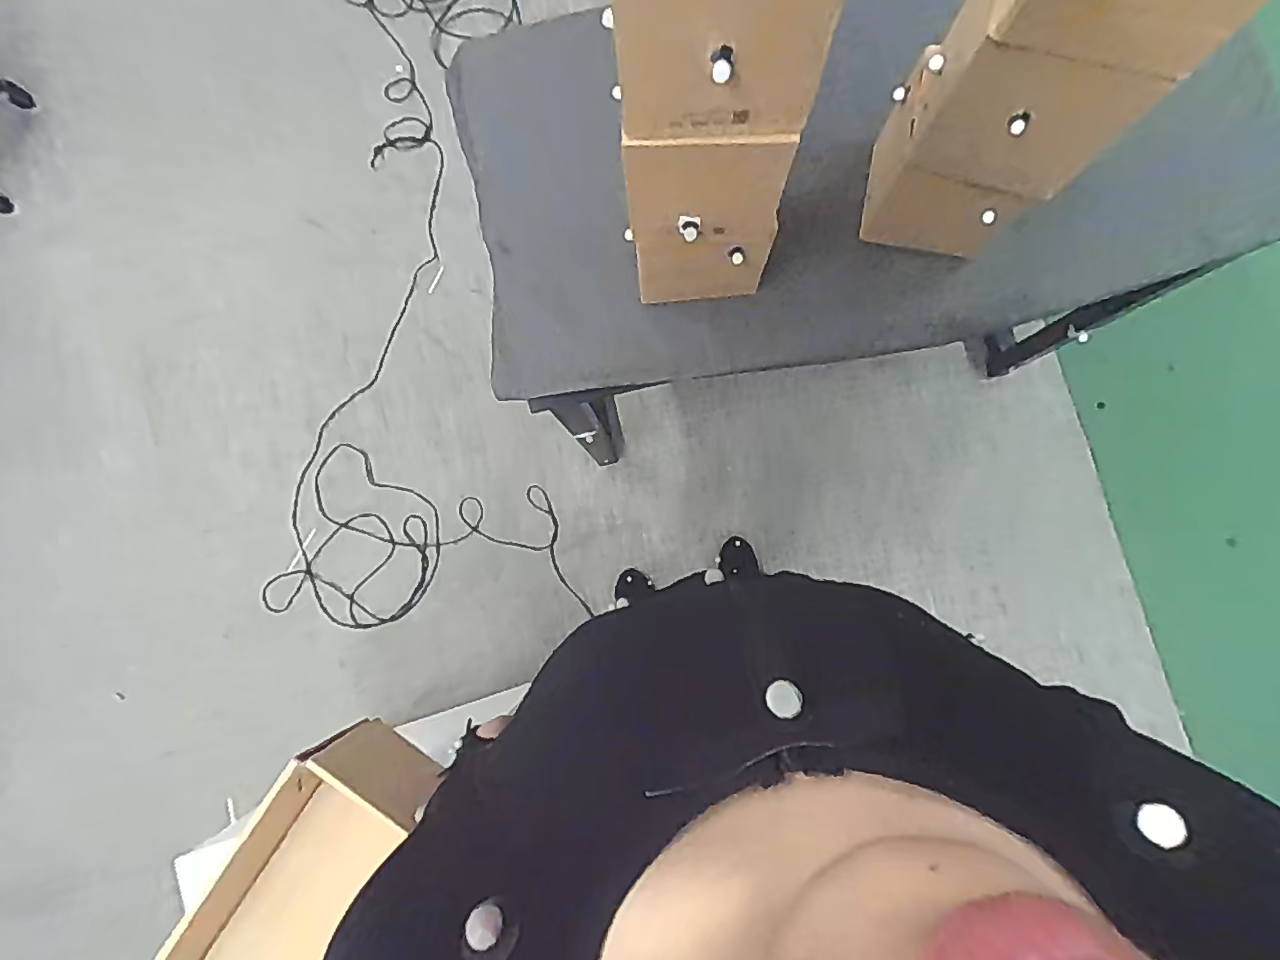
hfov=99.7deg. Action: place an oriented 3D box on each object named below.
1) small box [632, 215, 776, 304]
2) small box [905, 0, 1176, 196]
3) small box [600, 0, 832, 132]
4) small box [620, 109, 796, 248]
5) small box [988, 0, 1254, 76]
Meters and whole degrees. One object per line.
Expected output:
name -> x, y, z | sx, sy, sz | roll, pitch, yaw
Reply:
small box -> 0.078, -0.362, 0.750 | 0.179, 0.176, 0.168 | -5, 82, 3
small box -> 0.421, -0.439, 0.575 | 0.179, 0.176, 0.168 | 18, 83, 5
small box -> 0.059, -0.407, 0.427 | 0.168, 0.176, 0.179 | 0, 83, 4
small box -> 0.069, -0.380, 0.589 | 0.168, 0.176, 0.179 | 0, 83, 4
small box -> 0.410, -0.460, 0.414 | 0.179, 0.176, 0.168 | 16, 83, 4
